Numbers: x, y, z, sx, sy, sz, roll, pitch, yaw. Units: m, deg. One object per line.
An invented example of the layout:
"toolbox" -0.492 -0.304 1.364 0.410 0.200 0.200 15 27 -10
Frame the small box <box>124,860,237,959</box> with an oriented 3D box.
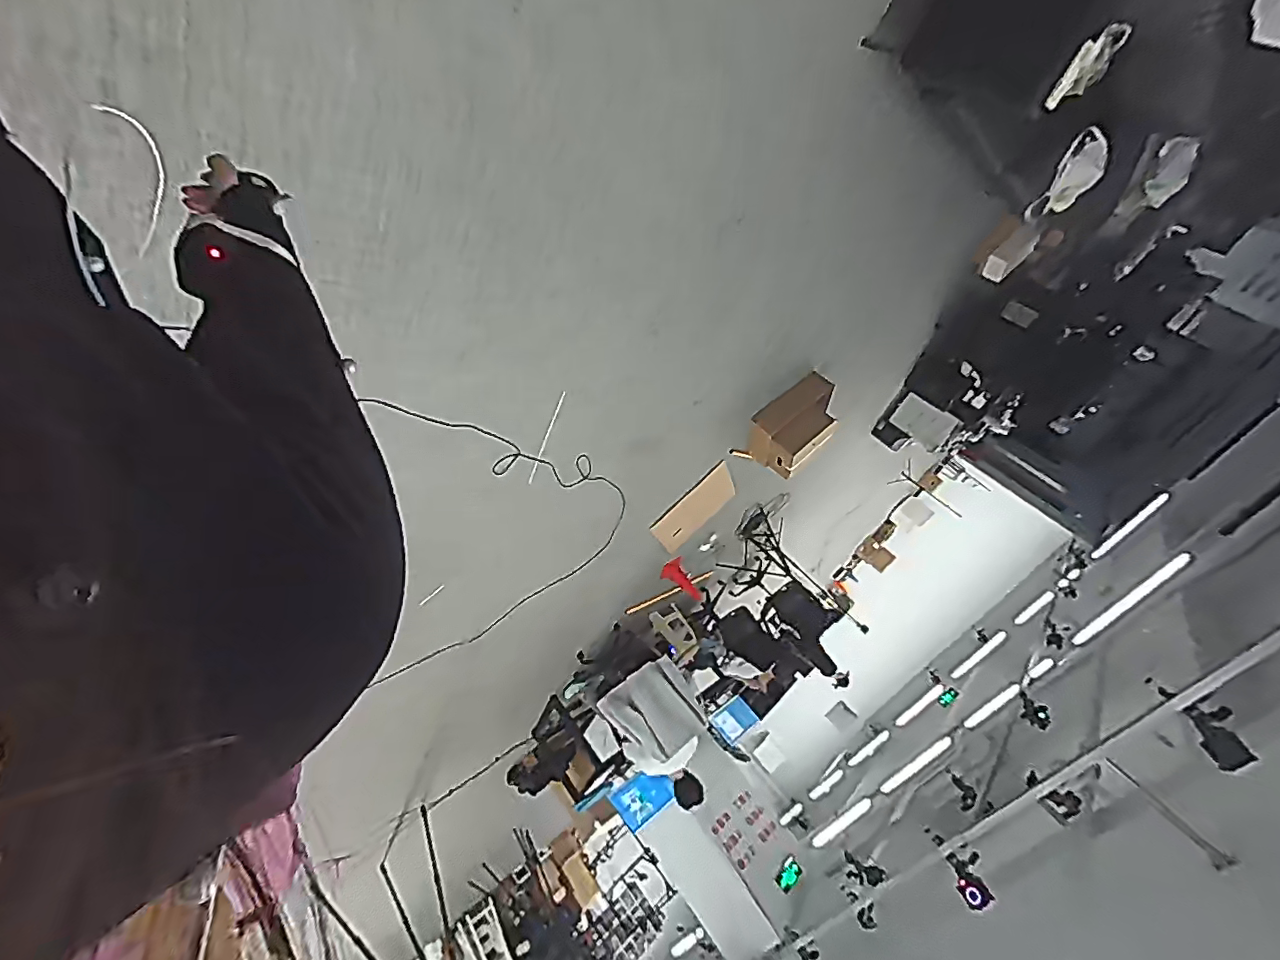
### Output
"small box" -1.084 1.055 1.281 0.179 0.176 0.168 -12 138 -46
